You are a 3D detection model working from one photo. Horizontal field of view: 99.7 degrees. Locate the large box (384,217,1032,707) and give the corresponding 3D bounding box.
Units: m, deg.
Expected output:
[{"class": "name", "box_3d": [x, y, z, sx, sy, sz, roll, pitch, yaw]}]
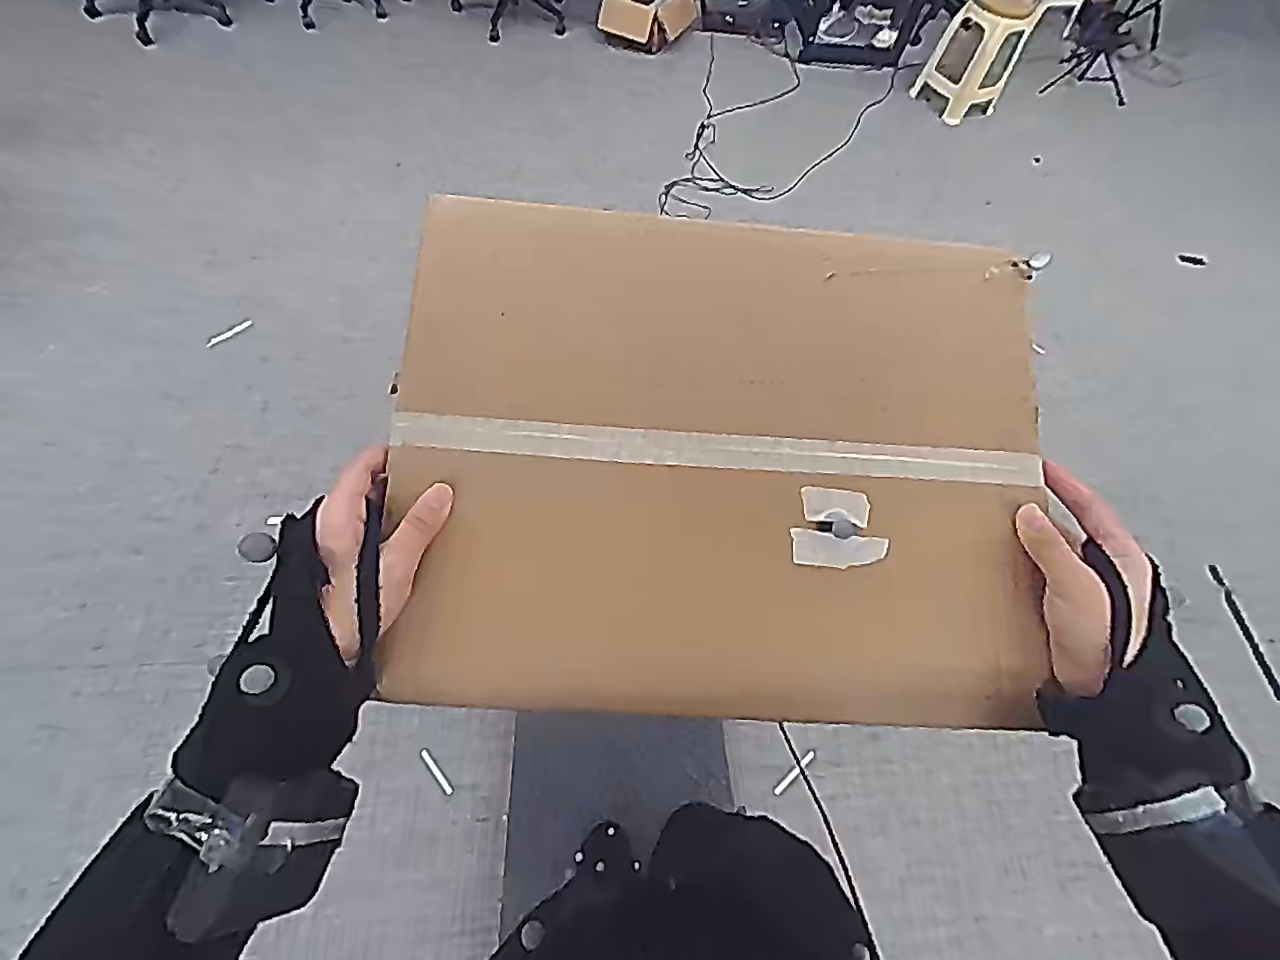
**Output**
[{"class": "large box", "box_3d": [0.041, 0.007, 0.495, 0.408, 0.320, 0.320, 4, 81, -3]}]
